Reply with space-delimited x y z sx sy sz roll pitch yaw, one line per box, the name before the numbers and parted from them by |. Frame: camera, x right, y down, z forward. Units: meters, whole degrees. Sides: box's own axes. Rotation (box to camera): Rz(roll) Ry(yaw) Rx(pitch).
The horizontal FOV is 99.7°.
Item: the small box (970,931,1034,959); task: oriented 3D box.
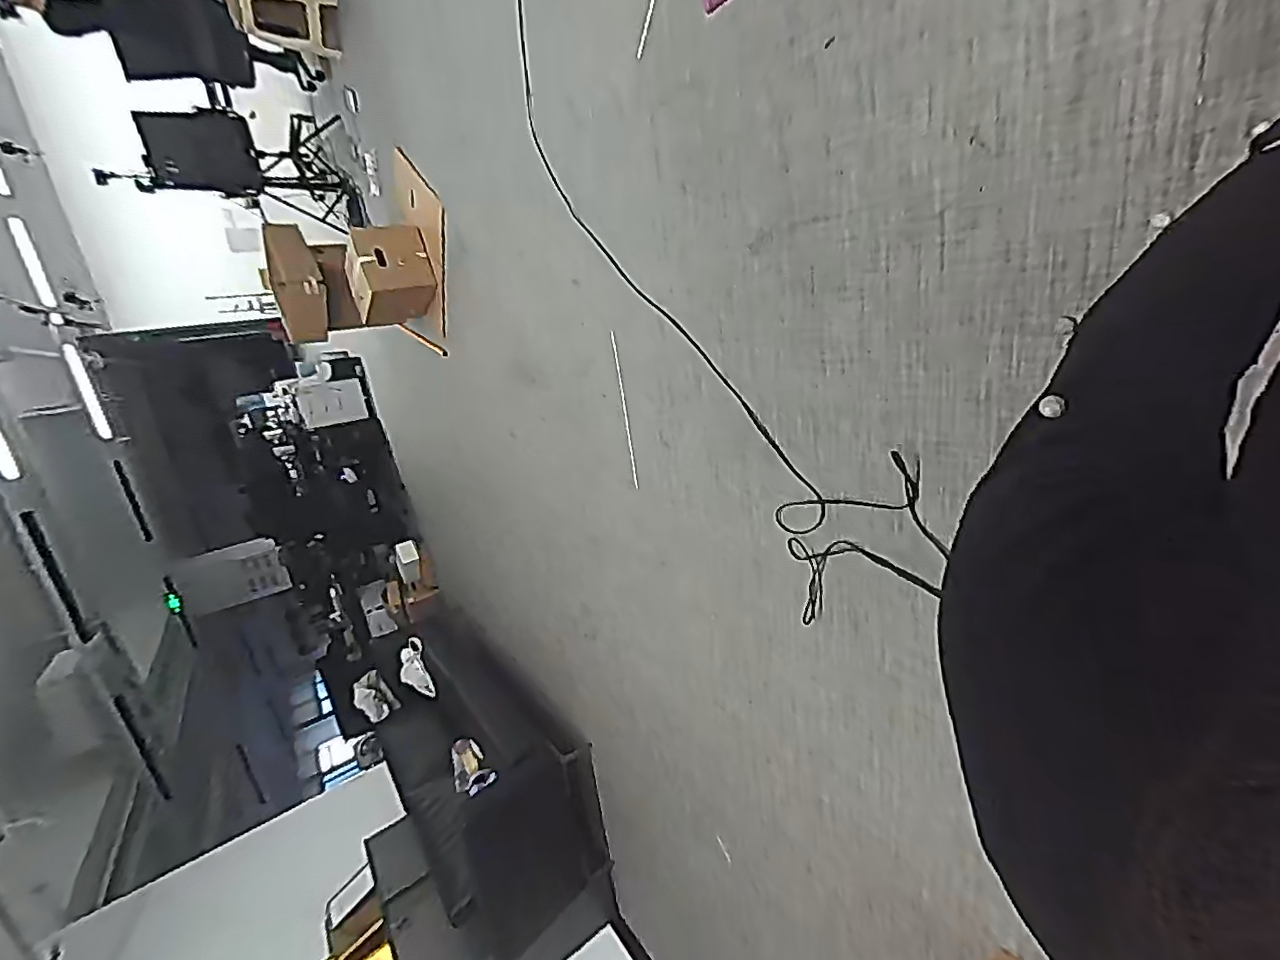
small box | 0.701 1.007 1.000 0.179 0.176 0.168 12 115 55
